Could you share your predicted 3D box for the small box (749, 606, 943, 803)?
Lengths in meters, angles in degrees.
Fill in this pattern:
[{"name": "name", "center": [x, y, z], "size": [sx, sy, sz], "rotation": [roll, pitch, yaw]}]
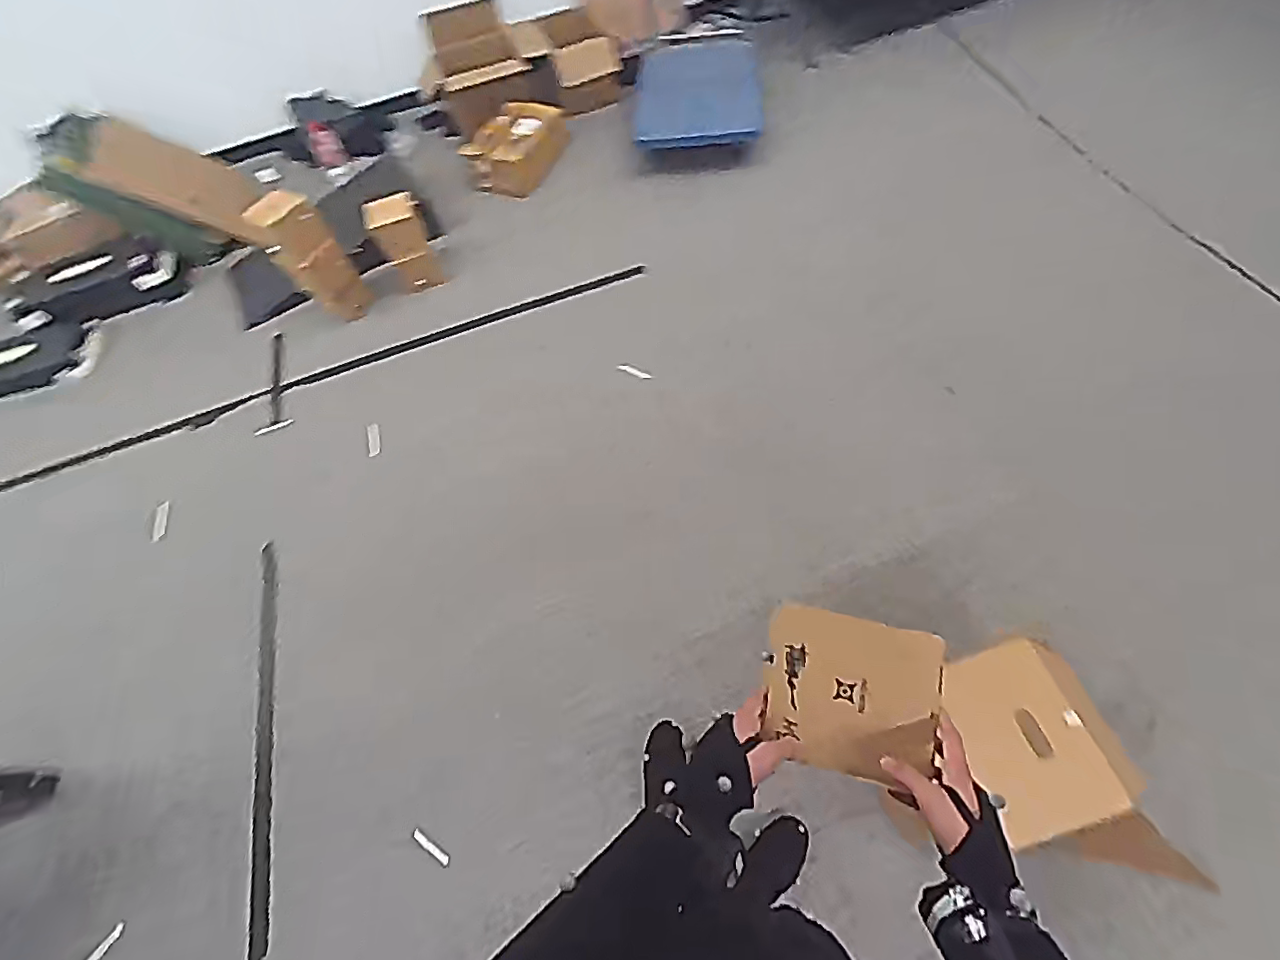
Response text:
[{"name": "small box", "center": [0.236, 0.258, 0.656], "size": [0.179, 0.176, 0.168], "rotation": [11, 74, 12]}]
